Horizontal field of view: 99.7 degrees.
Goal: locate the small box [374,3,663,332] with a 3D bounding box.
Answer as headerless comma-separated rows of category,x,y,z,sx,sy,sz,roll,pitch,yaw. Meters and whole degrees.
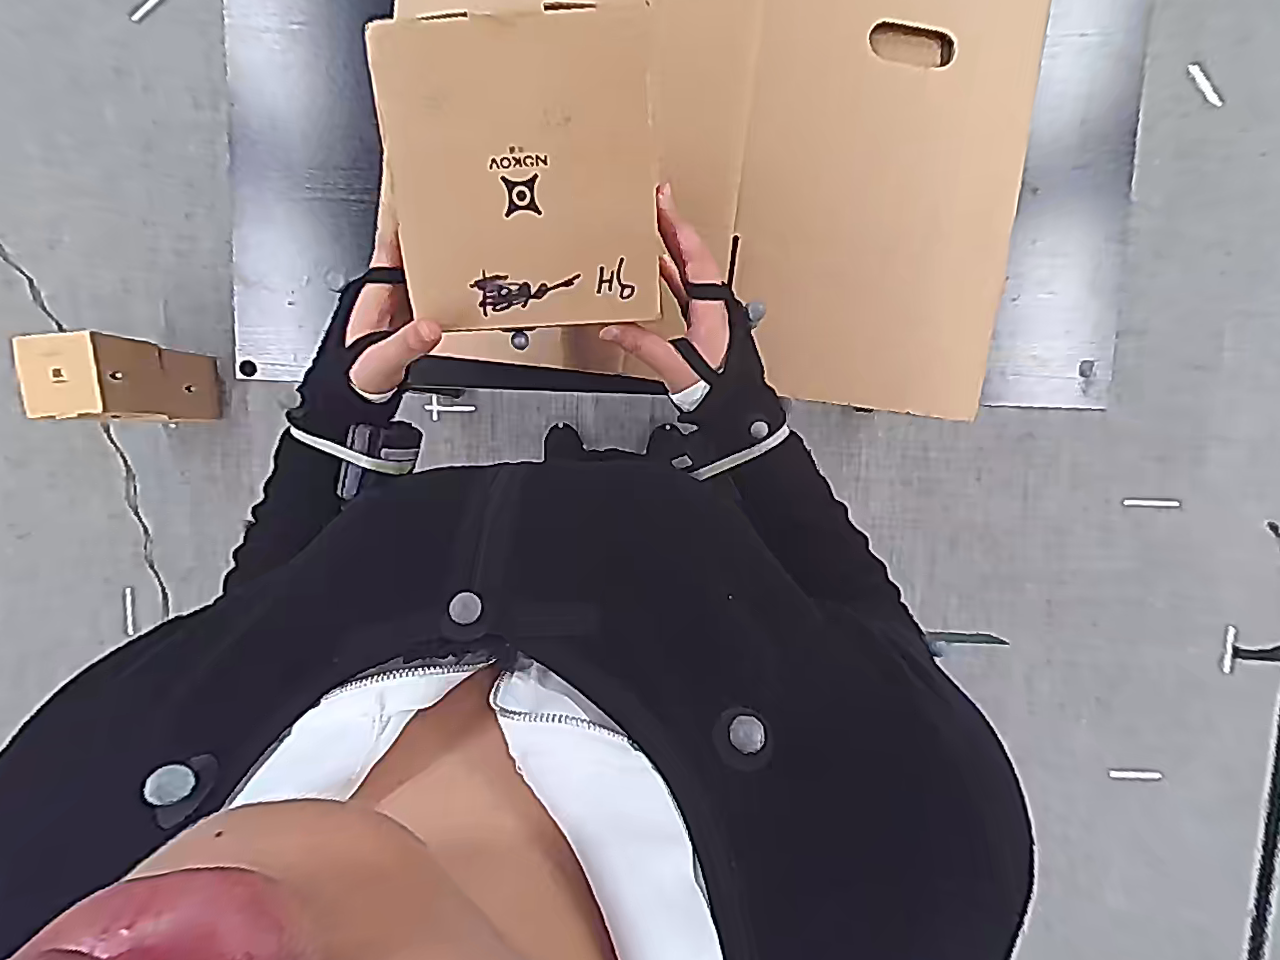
small box,-0.068,-0.206,0.408,0.168,0.176,0.179,-2,106,3

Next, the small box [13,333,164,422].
small box,-1.229,-0.224,1.220,0.168,0.176,0.179,-5,94,-1

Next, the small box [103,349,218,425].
small box,-1.228,-0.232,1.383,0.168,0.176,0.179,-2,96,0
